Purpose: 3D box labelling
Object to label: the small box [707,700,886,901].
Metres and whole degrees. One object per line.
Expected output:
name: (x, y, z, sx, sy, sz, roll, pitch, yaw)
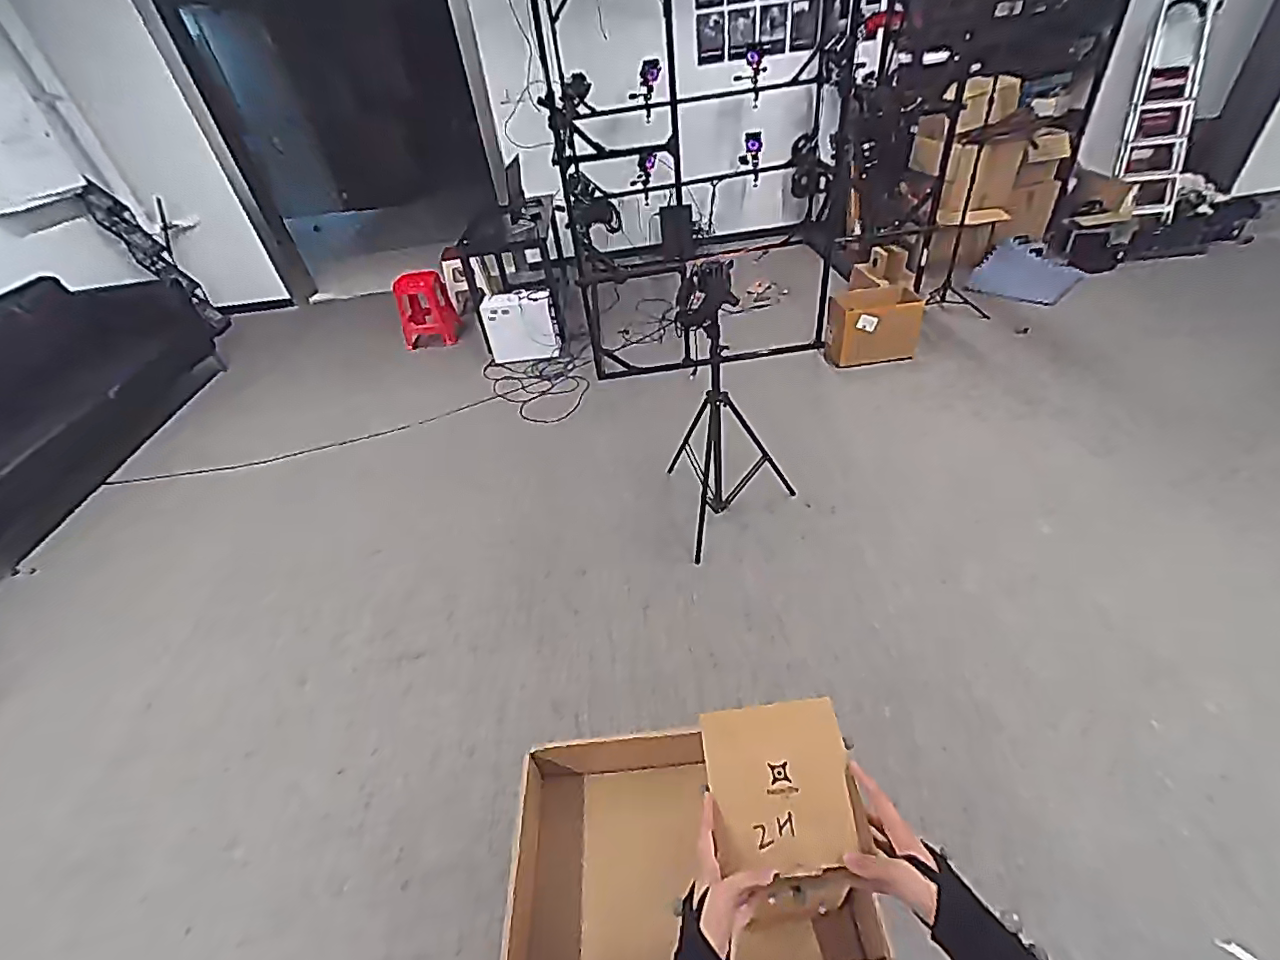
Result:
small box: (0.182, 0.400, 0.673, 0.168, 0.176, 0.179, -11, 47, 6)
